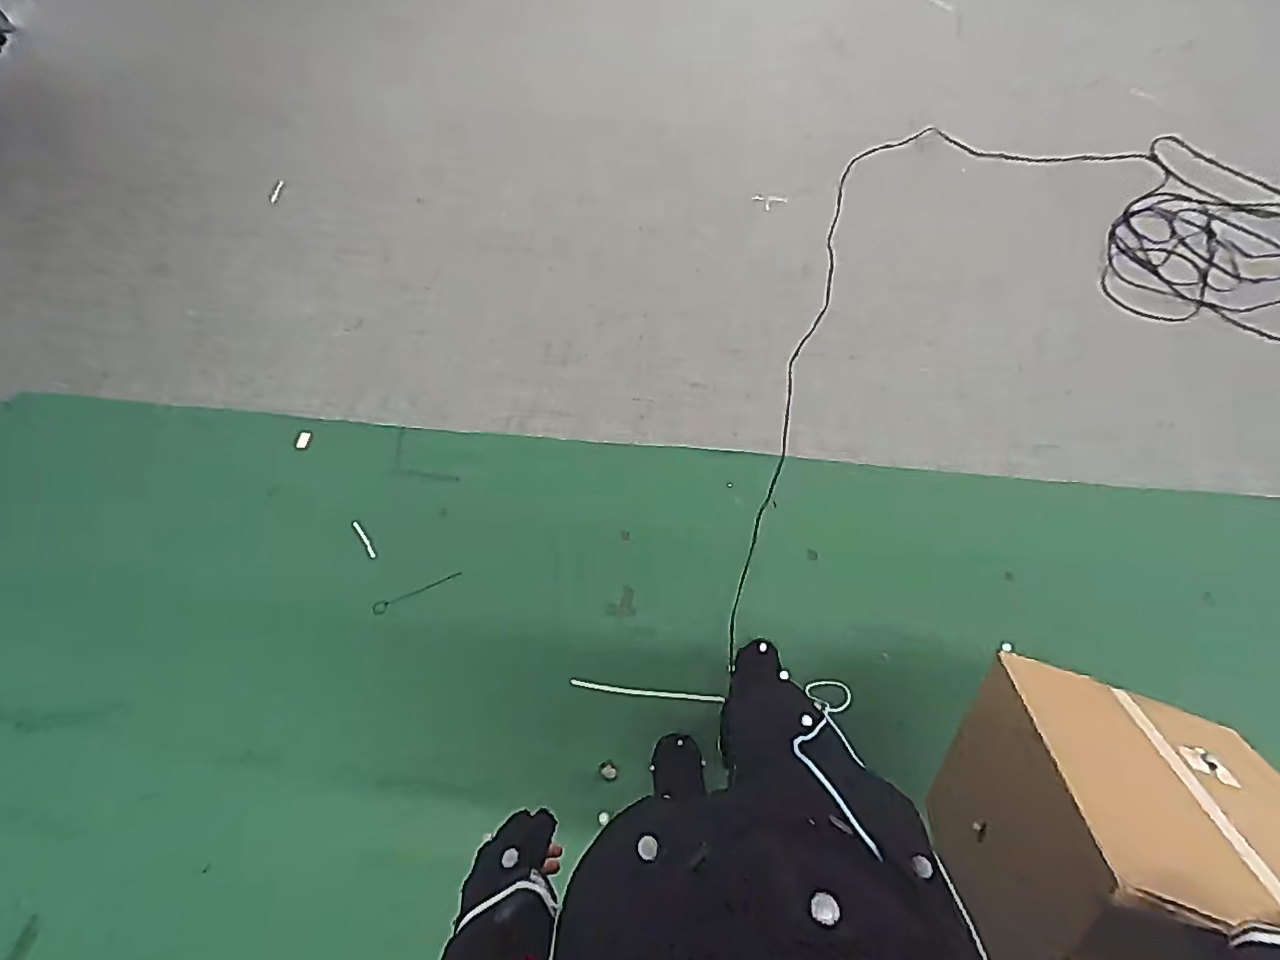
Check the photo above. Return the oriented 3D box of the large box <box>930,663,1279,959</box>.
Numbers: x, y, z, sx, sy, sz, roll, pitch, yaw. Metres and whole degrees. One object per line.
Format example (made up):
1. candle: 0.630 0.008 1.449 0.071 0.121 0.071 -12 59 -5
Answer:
1. large box: 0.601 0.510 0.668 0.320 0.408 0.320 18 108 15
